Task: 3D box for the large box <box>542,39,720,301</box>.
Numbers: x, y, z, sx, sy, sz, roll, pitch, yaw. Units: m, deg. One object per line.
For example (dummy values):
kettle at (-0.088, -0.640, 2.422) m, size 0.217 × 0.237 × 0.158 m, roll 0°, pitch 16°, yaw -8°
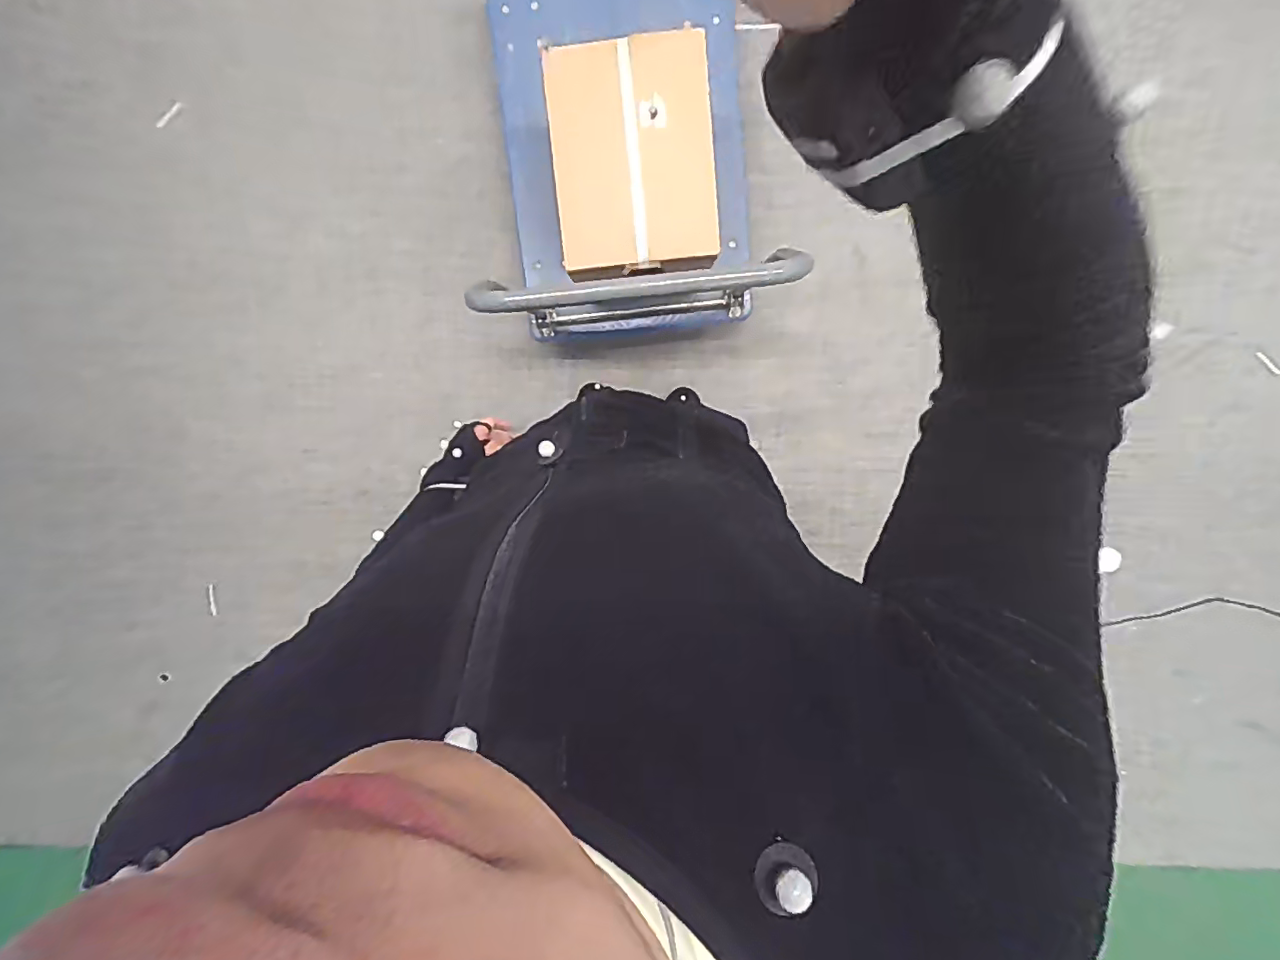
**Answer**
large box at (-0.009, -0.646, 1.205) m, size 0.320 × 0.320 × 0.408 m, roll -6°, pitch 99°, yaw 2°
